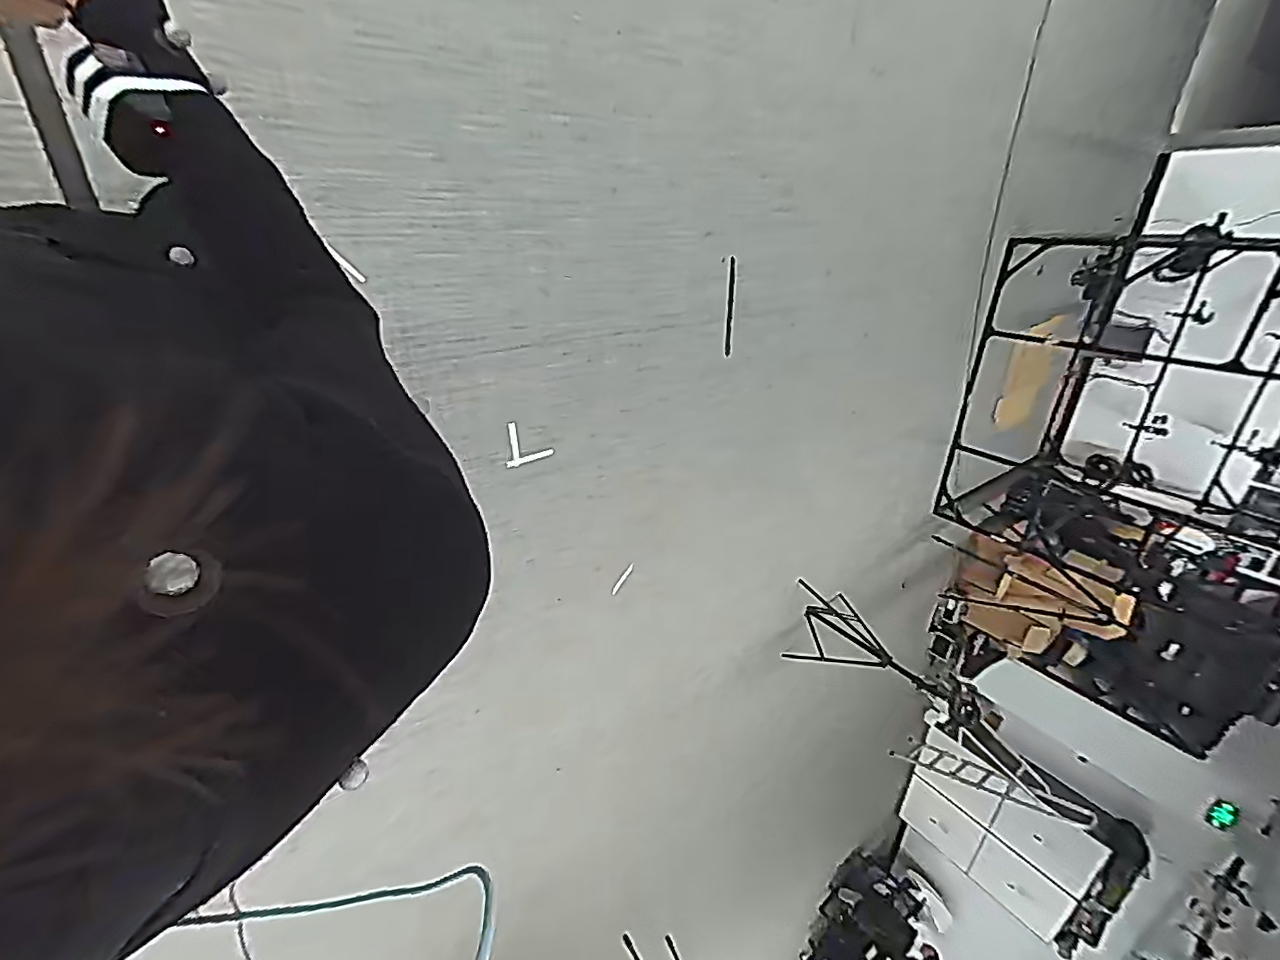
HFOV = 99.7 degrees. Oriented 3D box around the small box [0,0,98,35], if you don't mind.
[{"bbox_3d":[-0.524,-0.455,0.372,0.168,0.176,0.179,-25,122,-49],"label":"small box"}]
